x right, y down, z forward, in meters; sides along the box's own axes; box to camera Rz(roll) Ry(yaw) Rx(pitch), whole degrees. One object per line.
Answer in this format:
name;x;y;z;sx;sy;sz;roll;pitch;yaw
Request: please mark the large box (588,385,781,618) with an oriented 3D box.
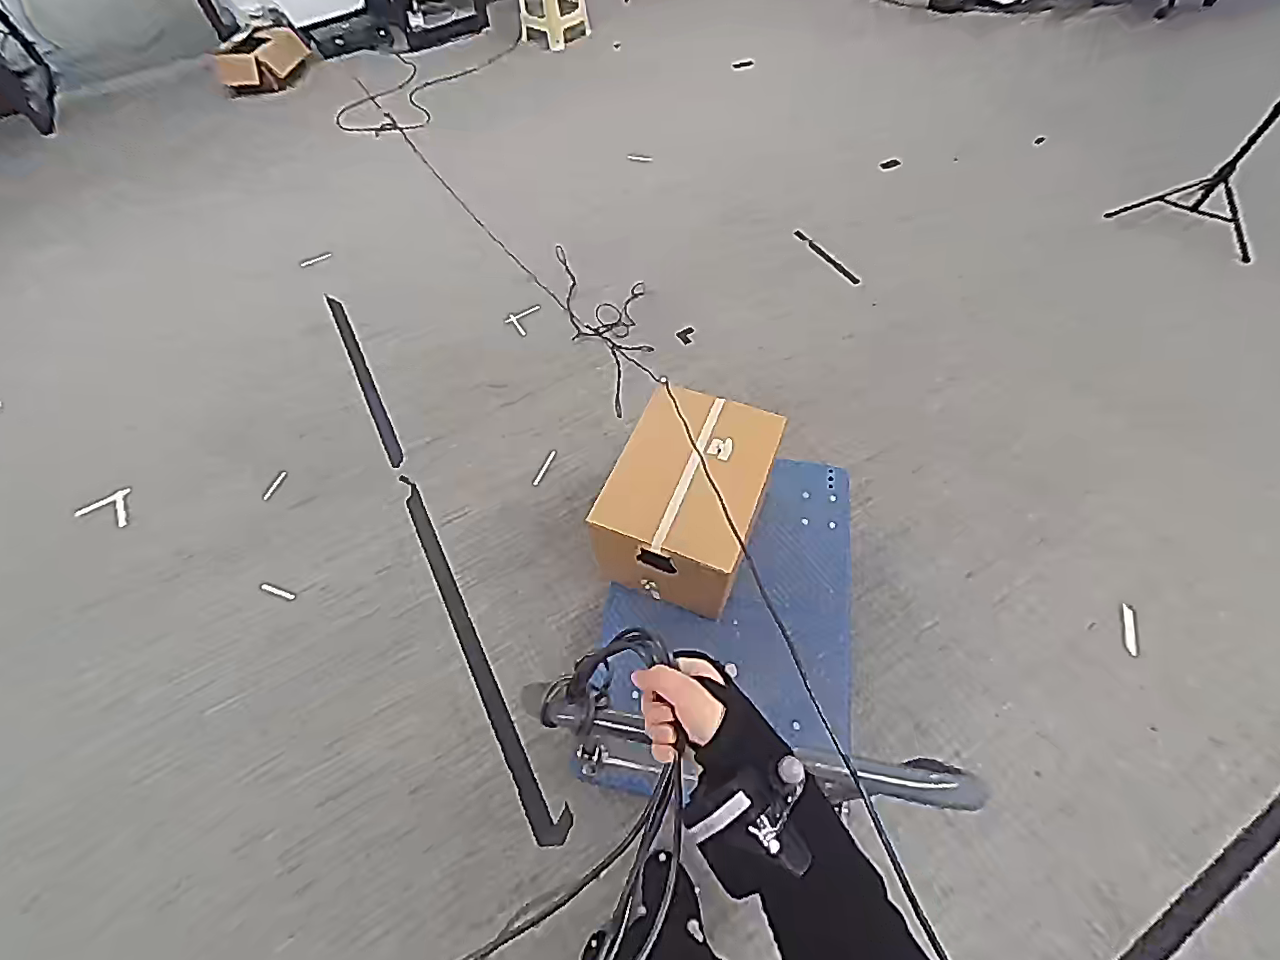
large box;0.113;0.053;1.282;0.320;0.320;0.408;19;61;13
